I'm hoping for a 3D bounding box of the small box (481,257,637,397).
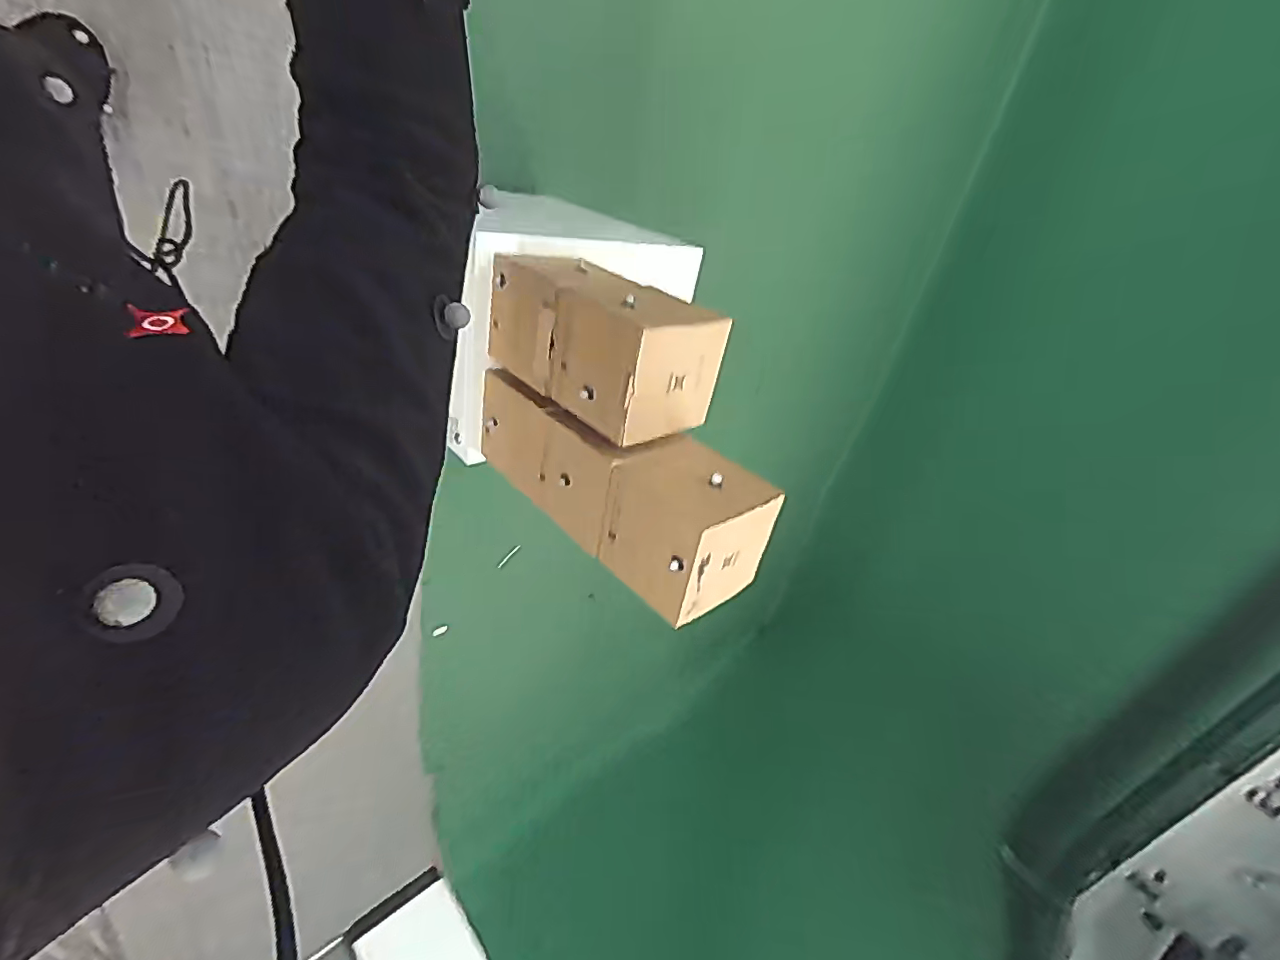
[{"bbox_3d":[-0.136,-0.249,0.865,0.179,0.176,0.168,-18,133,-43],"label":"small box"}]

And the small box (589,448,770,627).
[{"bbox_3d":[0.052,0.070,0.782,0.179,0.176,0.168,-20,132,-42],"label":"small box"}]
